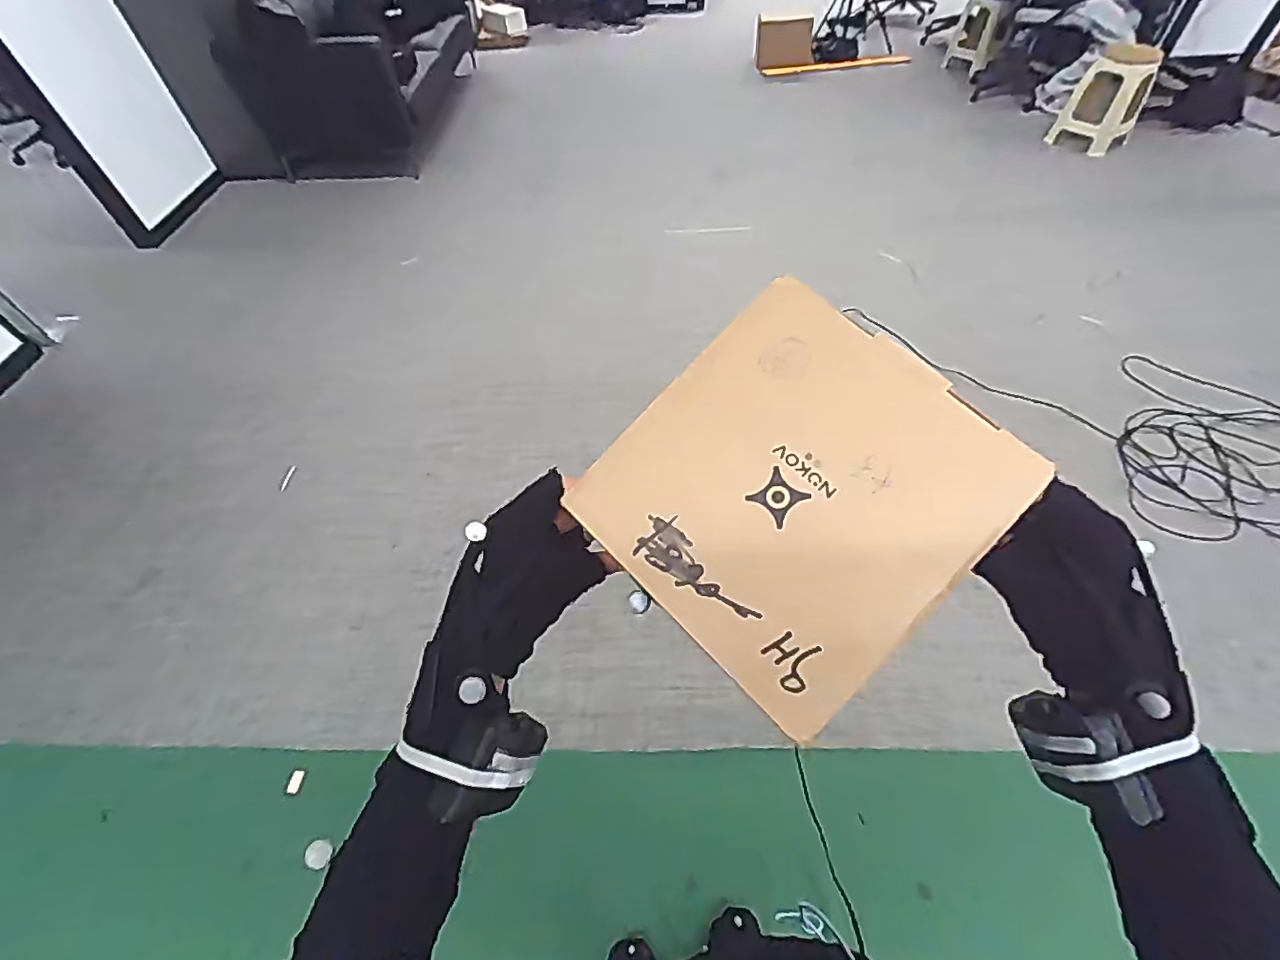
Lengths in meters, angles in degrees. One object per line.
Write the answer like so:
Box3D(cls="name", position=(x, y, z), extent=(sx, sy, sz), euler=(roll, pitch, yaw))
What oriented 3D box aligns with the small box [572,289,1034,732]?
Box3D(cls="small box", position=(0.088, 0.024, 0.353), extent=(0.179, 0.176, 0.168), euler=(-45, 72, -3))
